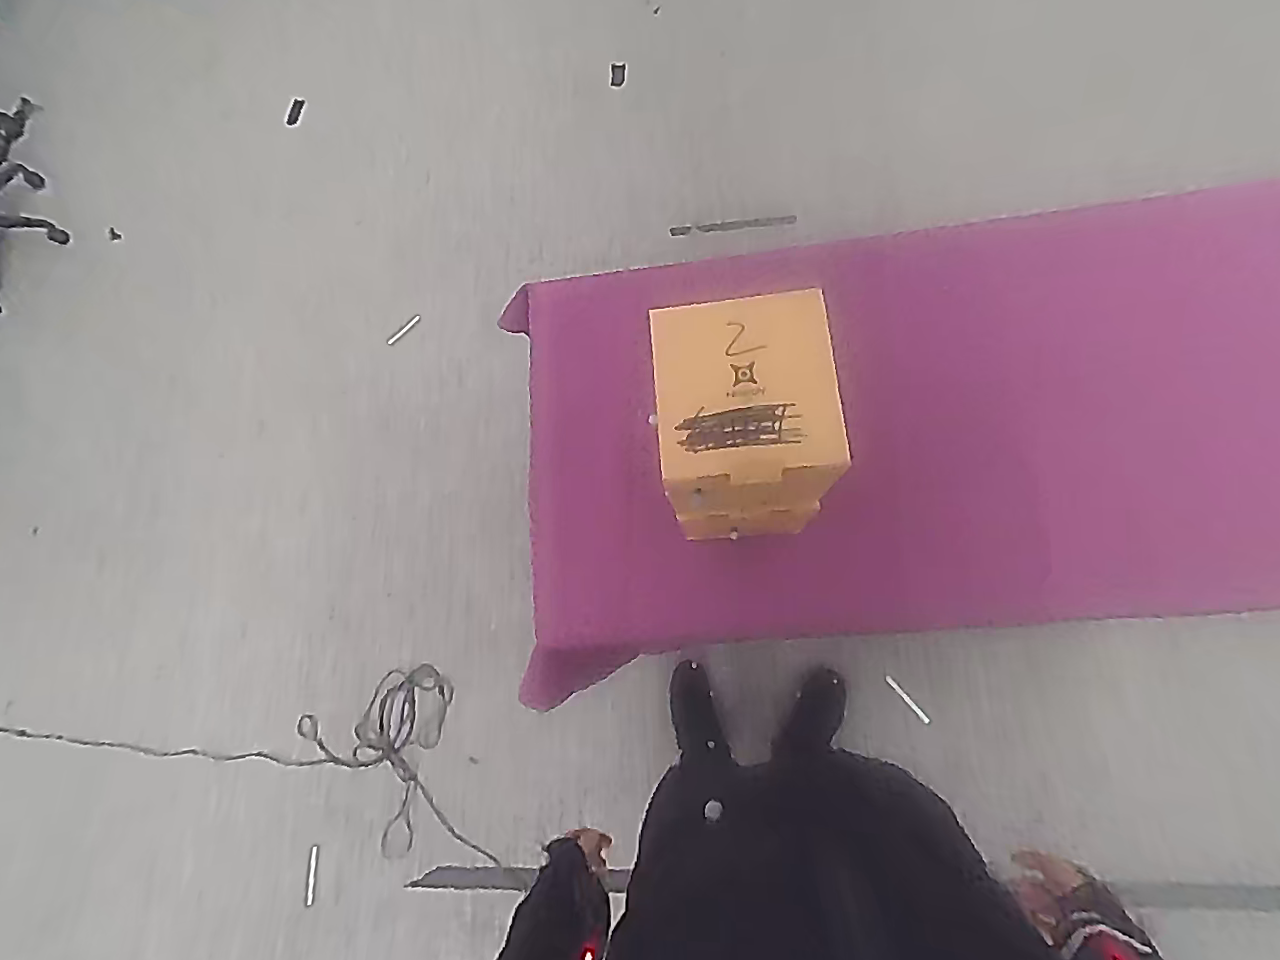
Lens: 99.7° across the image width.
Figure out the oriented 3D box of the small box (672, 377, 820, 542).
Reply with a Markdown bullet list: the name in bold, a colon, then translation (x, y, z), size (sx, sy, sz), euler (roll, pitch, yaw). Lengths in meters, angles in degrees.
- **small box**: translation (0.133, -0.018, 0.728), size (0.168, 0.176, 0.179), euler (-5, 76, 7)
